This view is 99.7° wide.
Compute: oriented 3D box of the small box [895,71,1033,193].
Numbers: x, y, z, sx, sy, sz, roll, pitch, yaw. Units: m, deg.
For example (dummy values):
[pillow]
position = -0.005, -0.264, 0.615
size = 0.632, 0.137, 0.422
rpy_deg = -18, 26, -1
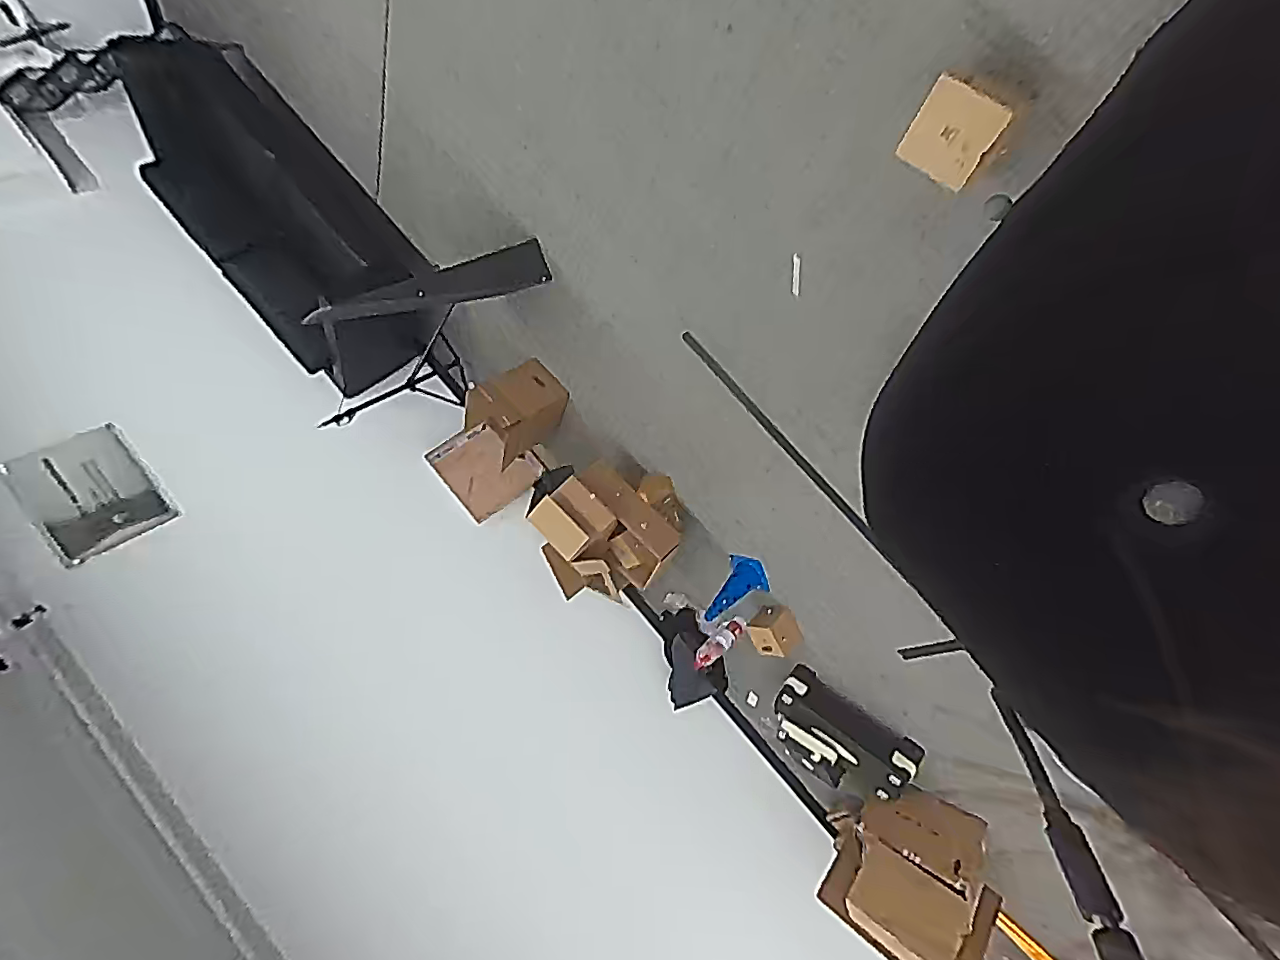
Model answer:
[small box]
position = 0.714, -0.774, 1.196
size = 0.179, 0.176, 0.168
rpy_deg = 43, 146, 14
